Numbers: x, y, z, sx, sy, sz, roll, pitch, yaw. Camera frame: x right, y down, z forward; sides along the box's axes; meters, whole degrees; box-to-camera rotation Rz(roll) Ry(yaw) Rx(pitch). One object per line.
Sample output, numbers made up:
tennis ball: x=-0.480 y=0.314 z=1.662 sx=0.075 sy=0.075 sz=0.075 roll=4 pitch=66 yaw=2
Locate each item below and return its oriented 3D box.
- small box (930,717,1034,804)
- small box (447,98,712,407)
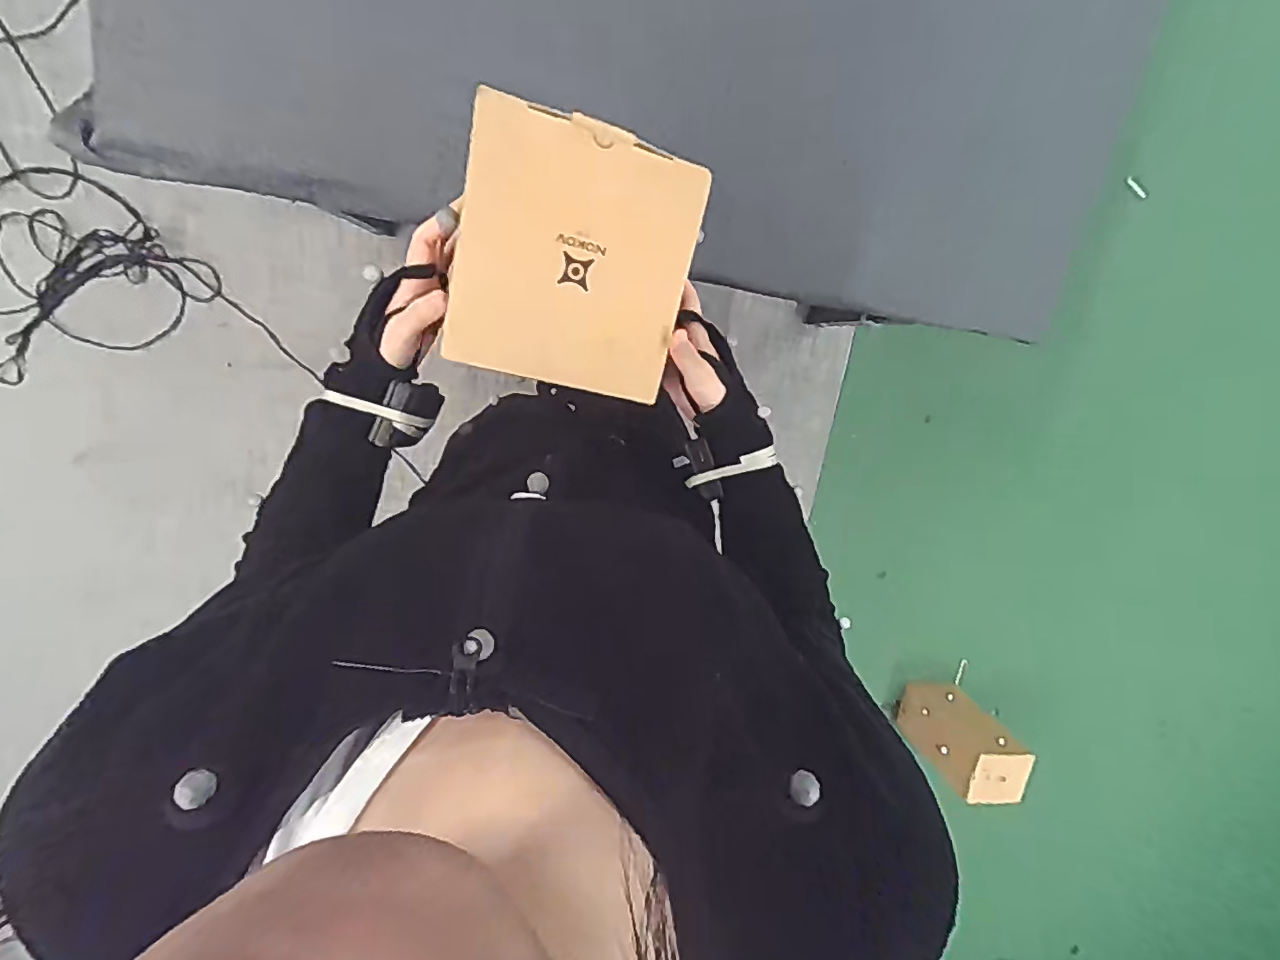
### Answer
small box: x=1.007 y=0.826 z=1.603 sx=0.179 sy=0.176 sz=0.168 roll=4 pitch=104 yaw=-8
small box: x=-0.062 y=-0.178 z=0.468 sx=0.168 sy=0.176 sz=0.179 roll=10 pitch=104 yaw=-18
